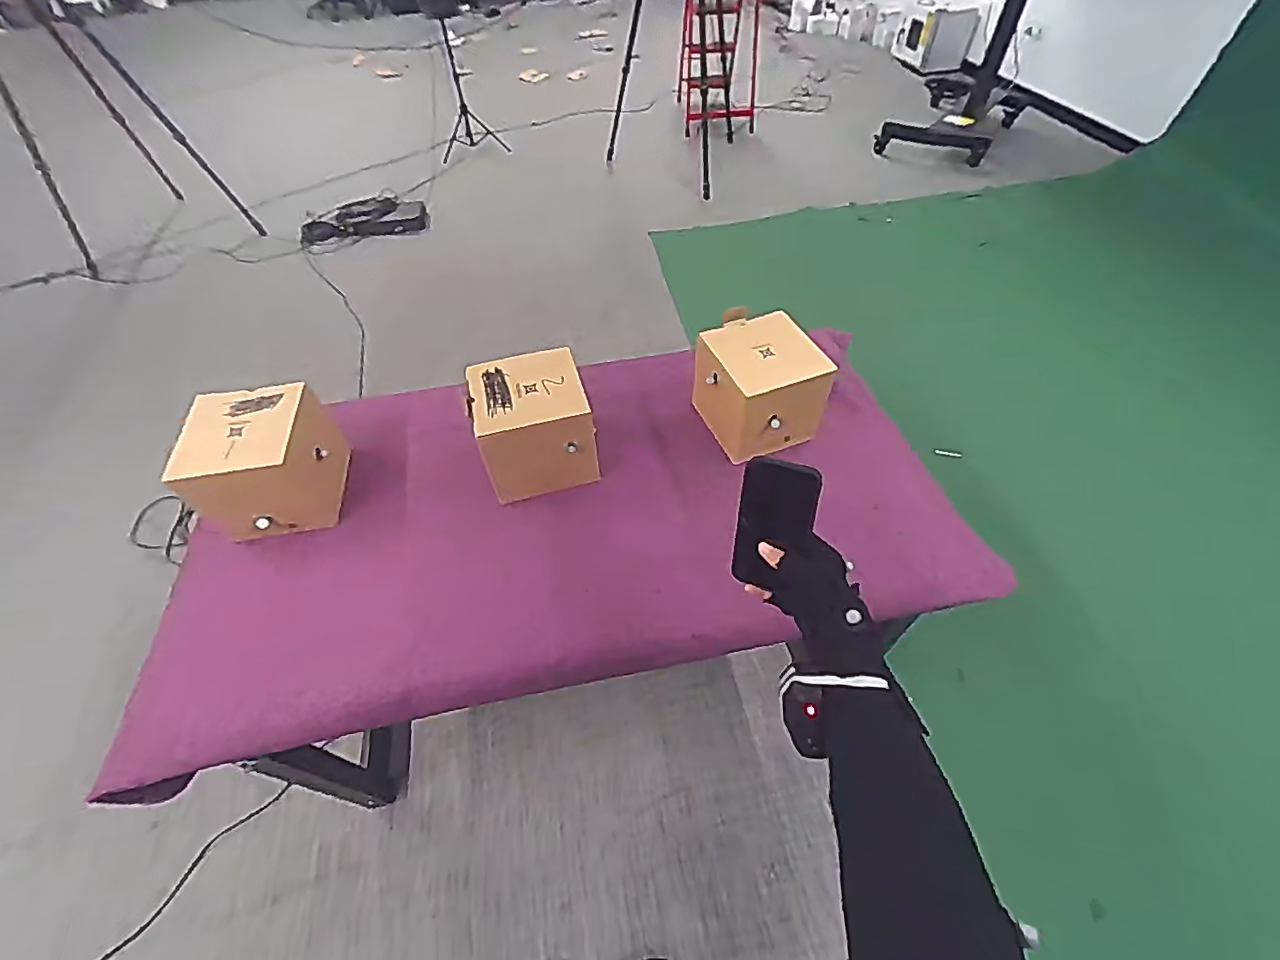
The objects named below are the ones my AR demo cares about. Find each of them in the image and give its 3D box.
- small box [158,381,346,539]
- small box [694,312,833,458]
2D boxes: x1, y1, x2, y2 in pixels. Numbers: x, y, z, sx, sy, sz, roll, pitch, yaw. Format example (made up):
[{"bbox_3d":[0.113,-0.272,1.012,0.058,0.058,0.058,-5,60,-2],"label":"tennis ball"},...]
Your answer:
[{"bbox_3d":[-0.596,-0.031,0.862,0.168,0.176,0.179,-9,54,-5],"label":"small box"},{"bbox_3d":[0.204,-0.159,0.945,0.168,0.176,0.179,-18,53,-12],"label":"small box"}]
